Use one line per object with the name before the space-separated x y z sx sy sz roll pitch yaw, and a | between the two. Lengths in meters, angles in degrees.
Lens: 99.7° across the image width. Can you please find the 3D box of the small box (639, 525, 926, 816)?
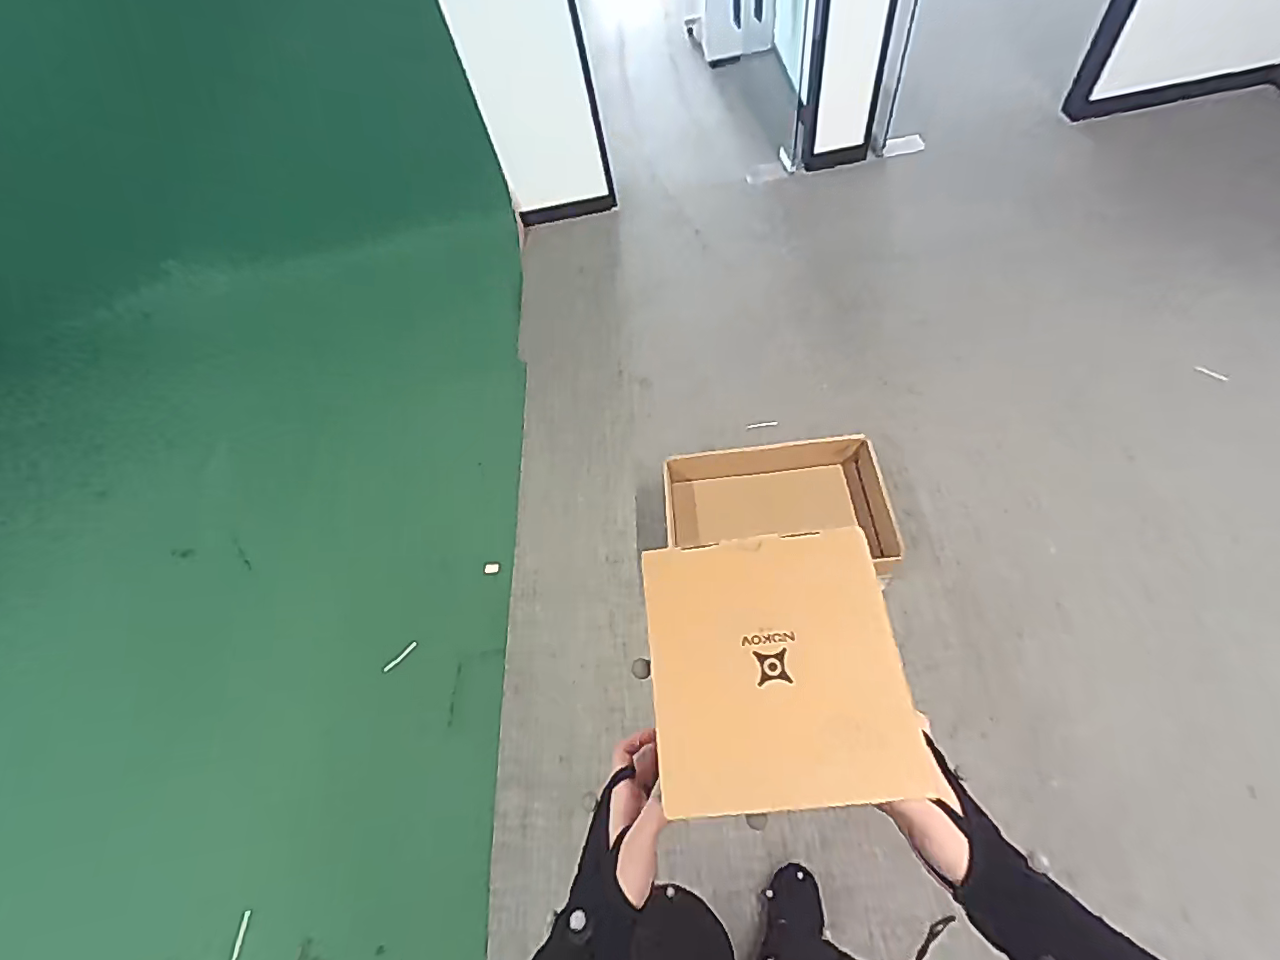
small box | 0.097 0.155 0.435 0.168 0.176 0.179 -8 61 5
